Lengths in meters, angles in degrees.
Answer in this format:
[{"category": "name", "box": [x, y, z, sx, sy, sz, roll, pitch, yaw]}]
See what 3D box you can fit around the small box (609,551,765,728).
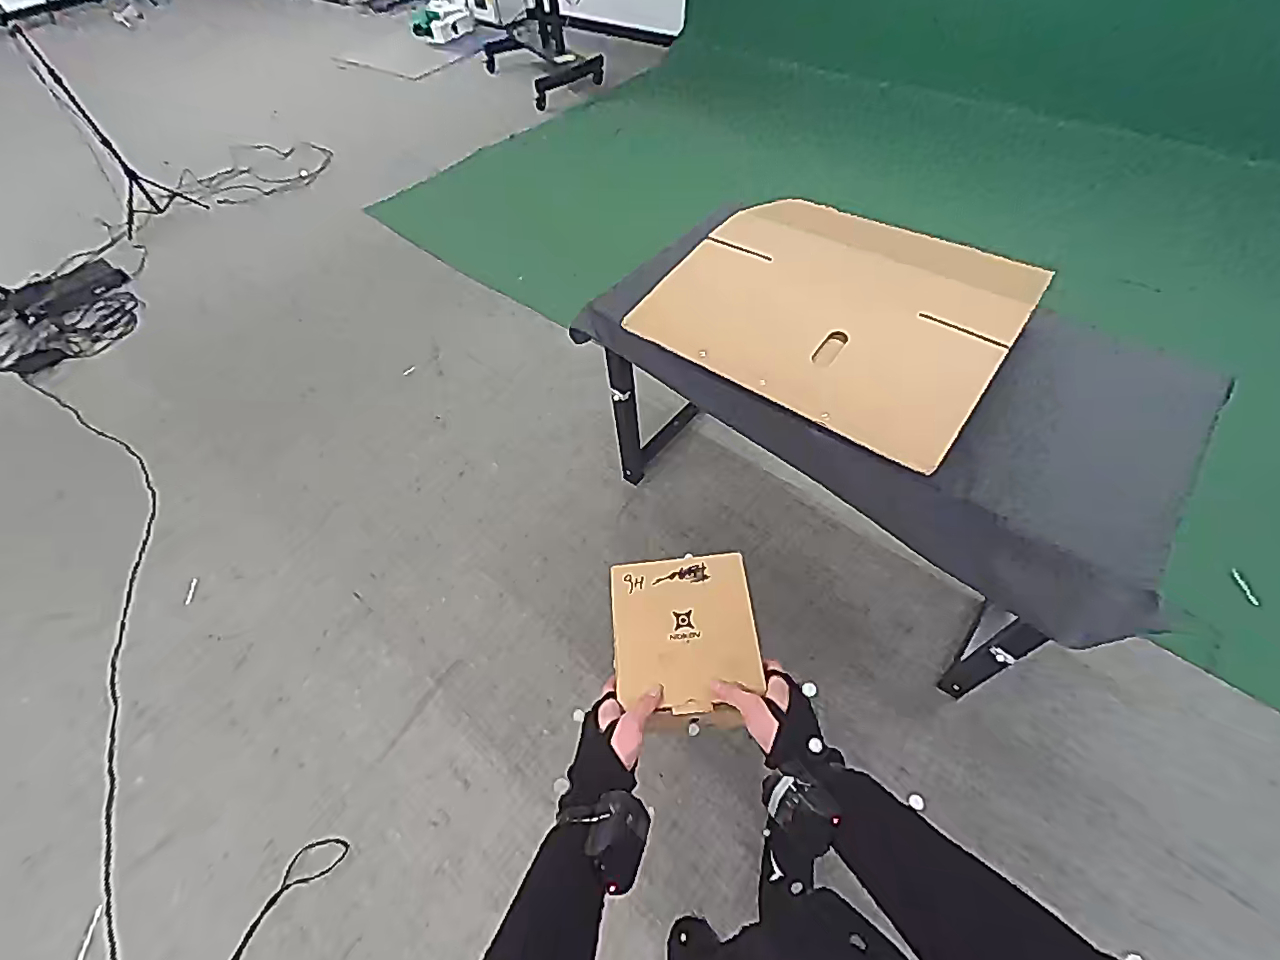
[{"category": "small box", "box": [0.059, 0.215, 0.703, 0.168, 0.176, 0.179, -9, 57, 2]}]
